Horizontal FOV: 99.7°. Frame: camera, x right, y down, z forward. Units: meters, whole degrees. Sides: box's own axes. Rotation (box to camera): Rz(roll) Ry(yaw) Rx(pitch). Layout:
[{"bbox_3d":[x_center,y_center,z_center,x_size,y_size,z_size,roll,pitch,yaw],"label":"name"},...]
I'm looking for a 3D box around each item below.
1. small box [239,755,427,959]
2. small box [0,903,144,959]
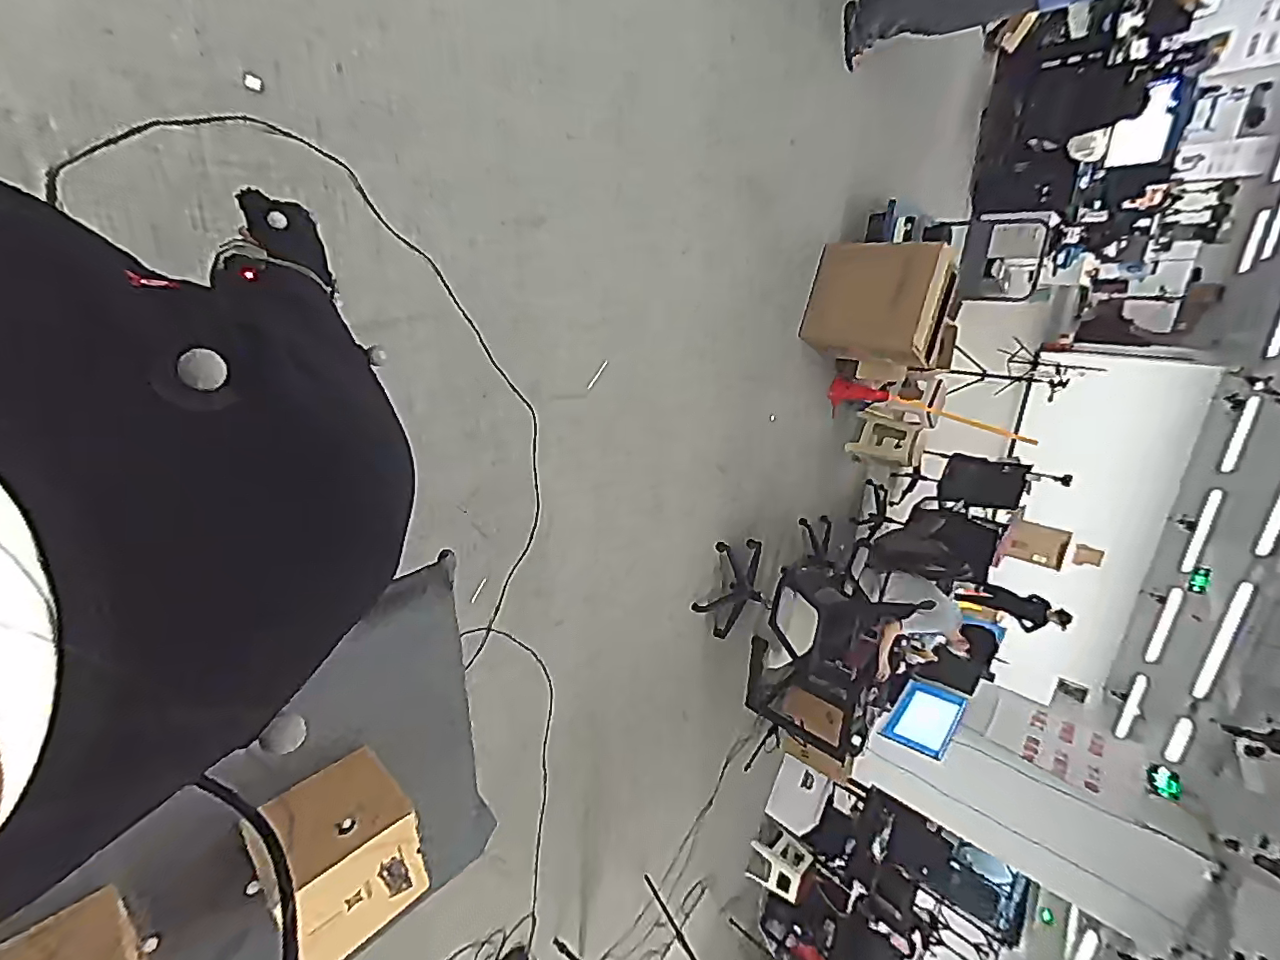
[{"bbox_3d":[-0.440,0.545,0.783,0.179,0.176,0.168,-21,119,-43],"label":"small box"},{"bbox_3d":[-0.637,0.609,0.576,0.168,0.176,0.179,-19,117,-45],"label":"small box"}]
